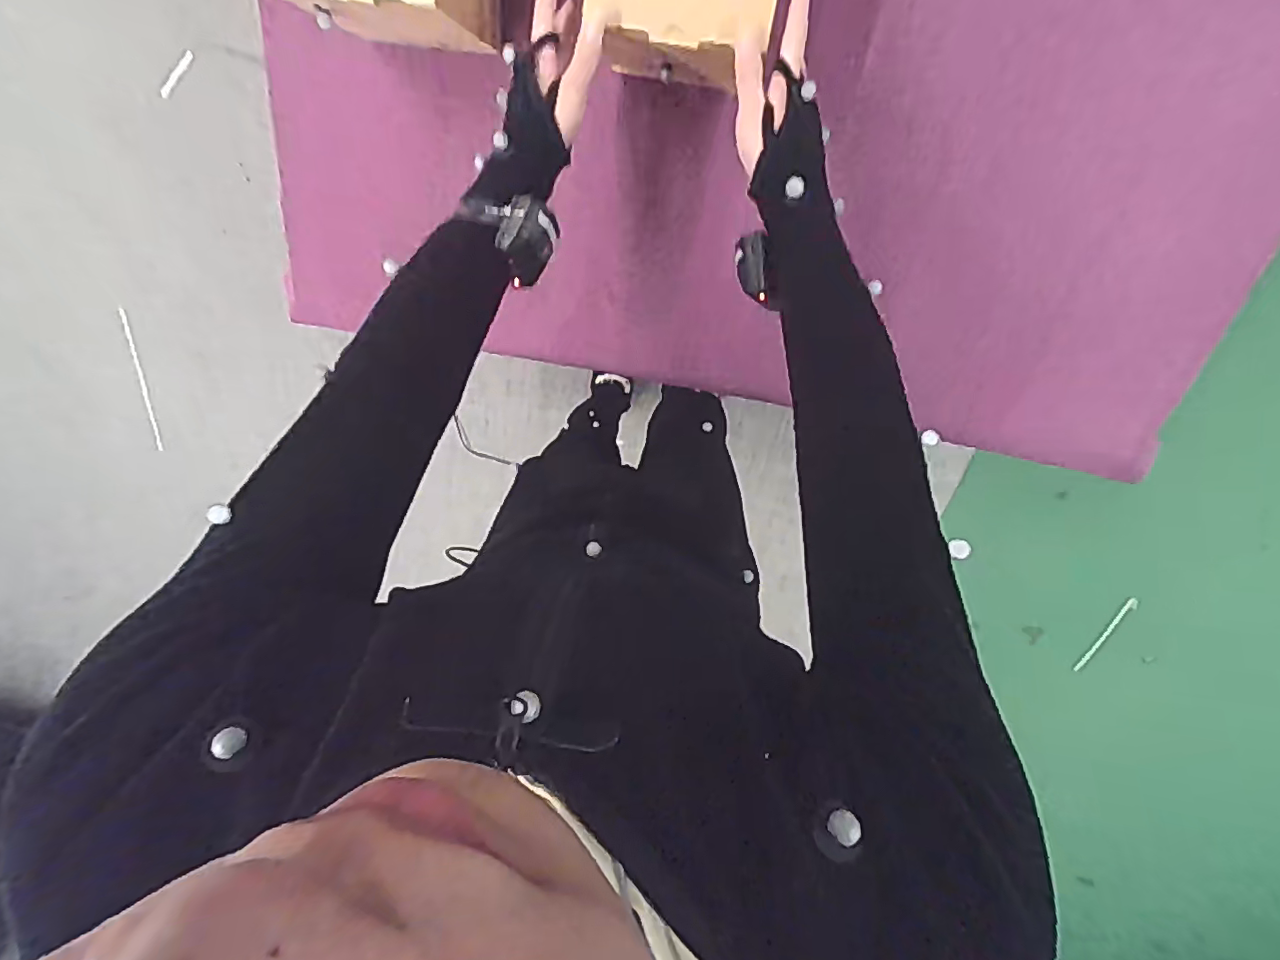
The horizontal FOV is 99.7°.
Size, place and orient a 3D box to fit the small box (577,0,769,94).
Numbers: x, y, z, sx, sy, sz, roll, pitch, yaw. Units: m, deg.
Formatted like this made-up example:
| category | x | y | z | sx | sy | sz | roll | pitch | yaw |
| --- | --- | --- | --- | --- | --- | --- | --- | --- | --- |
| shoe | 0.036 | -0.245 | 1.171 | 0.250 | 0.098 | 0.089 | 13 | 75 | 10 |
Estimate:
| category | x | y | z | sx | sy | sz | roll | pitch | yaw |
| --- | --- | --- | --- | --- | --- | --- | --- | --- | --- |
| small box | 0.046 | -0.496 | 0.513 | 0.168 | 0.176 | 0.179 | 11 | 119 | 3 |

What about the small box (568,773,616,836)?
| category | x | y | z | sx | sy | sz | roll | pitch | yaw |
| --- | --- | --- | --- | --- | --- | --- | --- | --- | --- |
| small box | -0.196 | 1.357 | 2.286 | 0.168 | 0.176 | 0.179 | 15 | 118 | 1 |
